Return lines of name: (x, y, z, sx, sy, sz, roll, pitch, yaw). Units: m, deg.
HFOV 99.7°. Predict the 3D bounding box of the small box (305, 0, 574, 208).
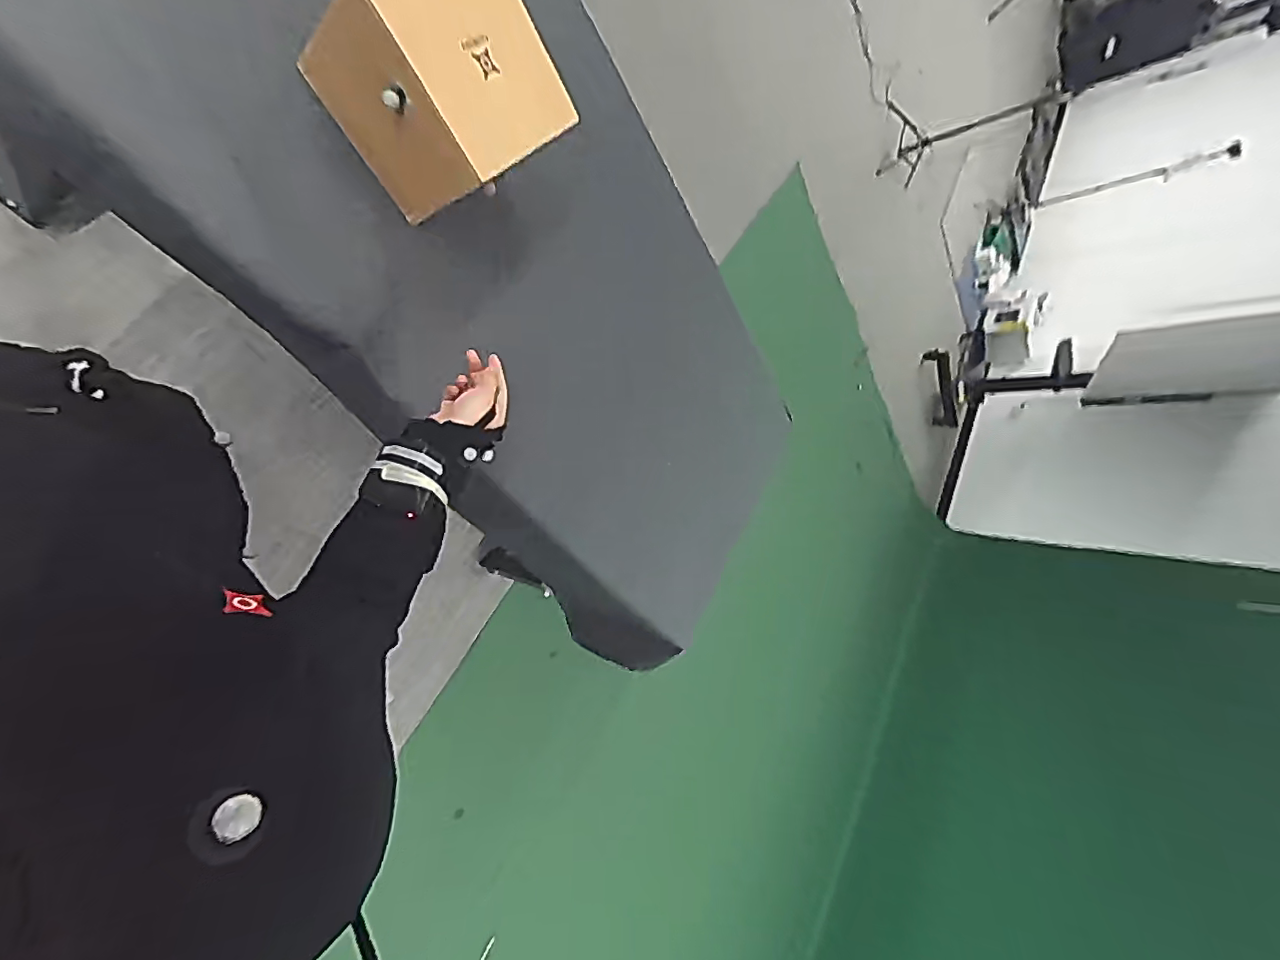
small box: (-0.212, -0.419, 0.581, 0.168, 0.176, 0.179, -54, 128, -29)
